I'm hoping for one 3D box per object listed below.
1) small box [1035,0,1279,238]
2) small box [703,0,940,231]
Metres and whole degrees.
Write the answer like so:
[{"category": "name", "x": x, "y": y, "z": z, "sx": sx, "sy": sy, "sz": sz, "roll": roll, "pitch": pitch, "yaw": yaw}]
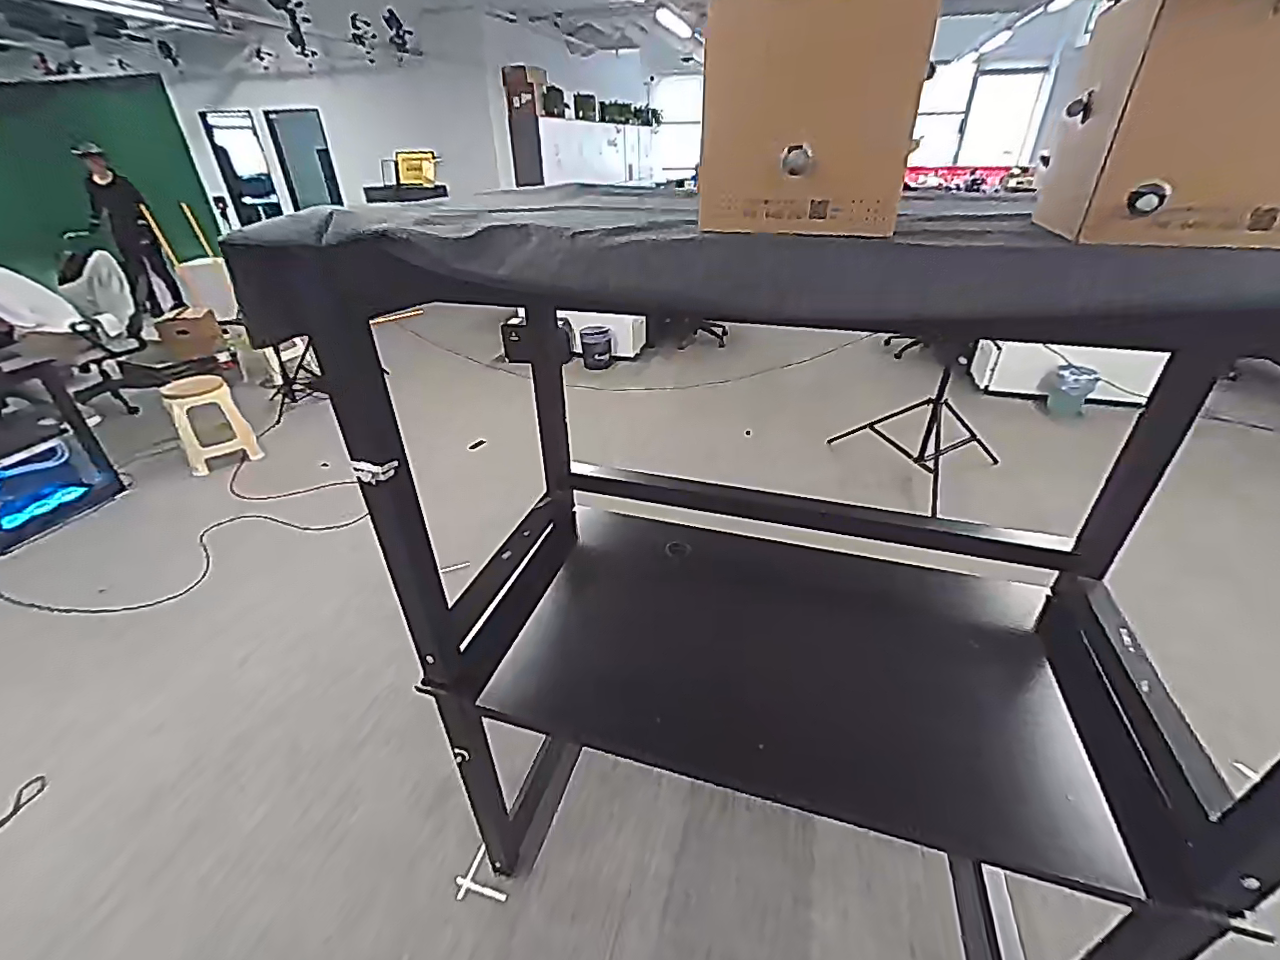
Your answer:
[{"category": "small box", "x": 0.442, "y": -0.287, "z": 0.418, "sx": 0.168, "sy": 0.176, "sz": 0.179, "roll": 11, "pitch": 32, "yaw": 19}, {"category": "small box", "x": 0.155, "y": -0.328, "z": 0.492, "sx": 0.168, "sy": 0.176, "sz": 0.179, "roll": 9, "pitch": 31, "yaw": 16}]
